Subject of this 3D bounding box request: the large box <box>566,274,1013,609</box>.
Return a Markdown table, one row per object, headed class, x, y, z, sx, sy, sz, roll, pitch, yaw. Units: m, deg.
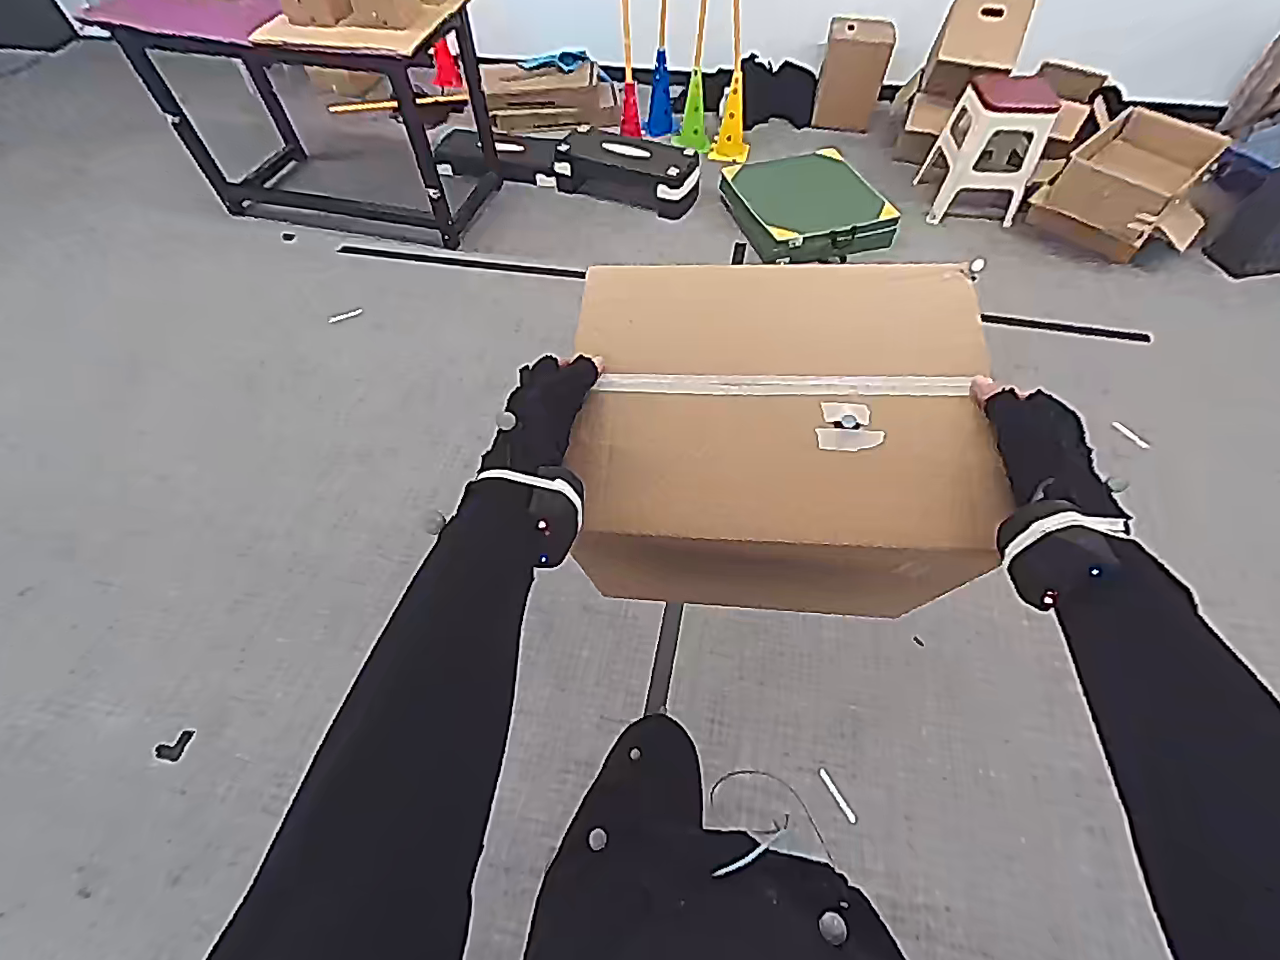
| class | x | y | z | sx | sy | sz | roll | pitch | yaw |
| --- | --- | --- | --- | --- | --- | --- | --- | --- | --- |
| large box | 0.148 | -0.028 | 0.679 | 0.408 | 0.320 | 0.320 | 2 | 67 | 7 |
